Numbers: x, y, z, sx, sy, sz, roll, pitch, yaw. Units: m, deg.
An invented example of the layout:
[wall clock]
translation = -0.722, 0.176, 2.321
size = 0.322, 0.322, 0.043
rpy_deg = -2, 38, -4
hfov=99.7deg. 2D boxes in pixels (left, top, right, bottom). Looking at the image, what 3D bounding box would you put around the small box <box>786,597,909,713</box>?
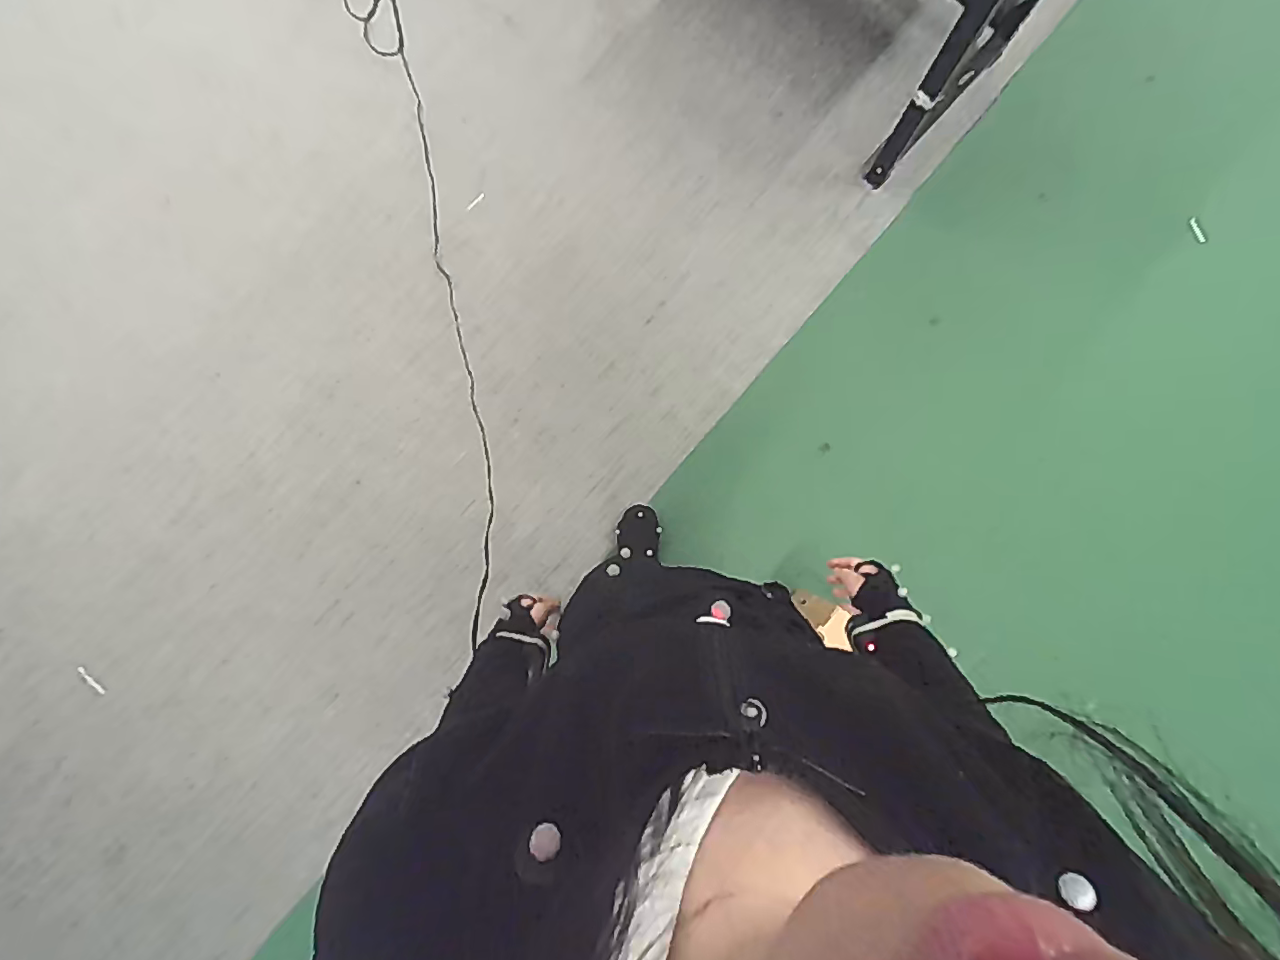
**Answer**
[small box]
translation = 0.466, 0.388, 1.241
size = 0.179, 0.176, 0.168
rpy_deg = 40, 88, 5
